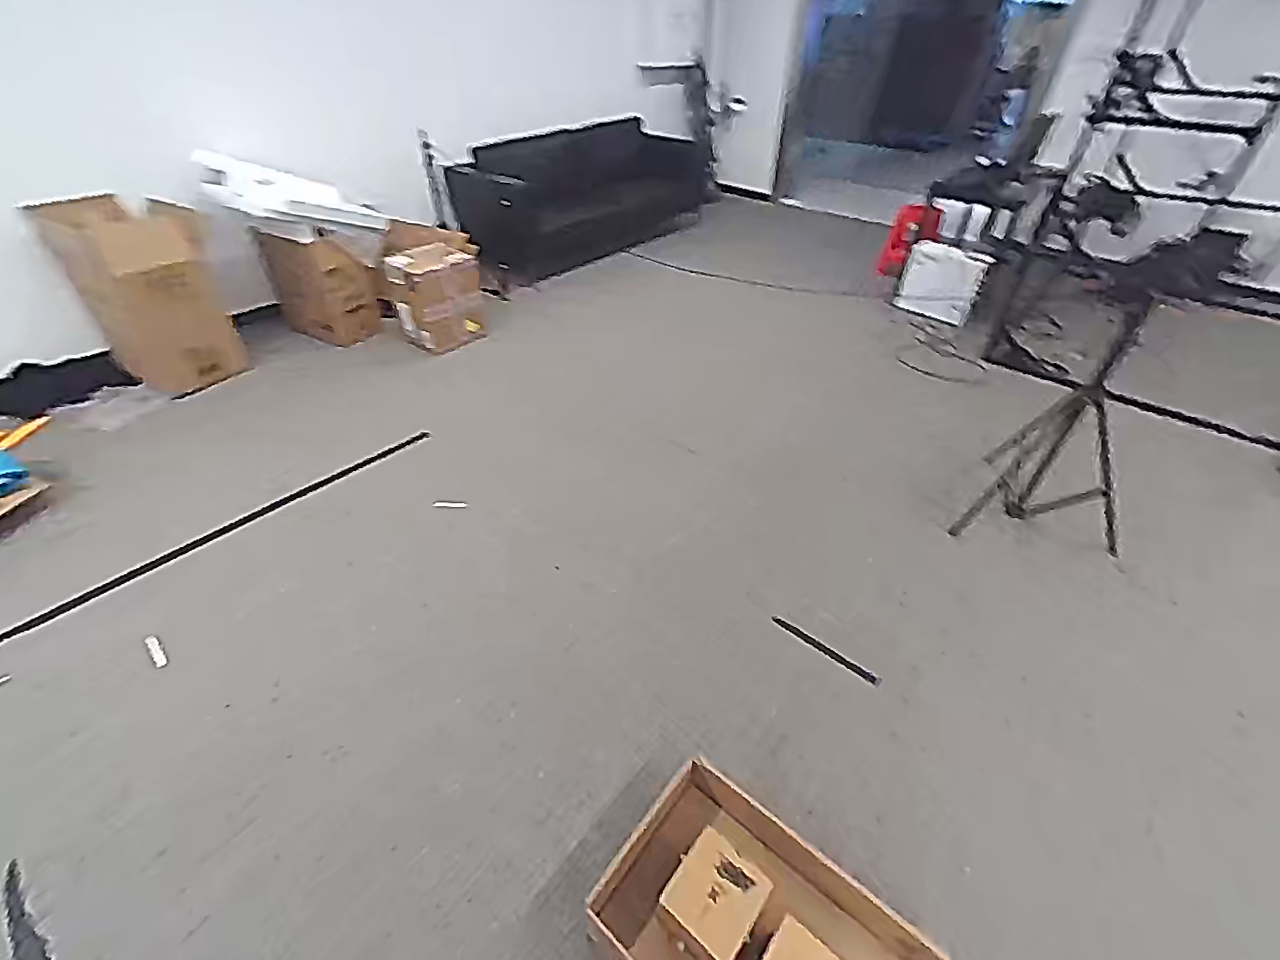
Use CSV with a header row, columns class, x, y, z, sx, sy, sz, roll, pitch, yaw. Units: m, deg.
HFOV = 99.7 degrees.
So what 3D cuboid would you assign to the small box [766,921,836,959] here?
class,x,y,z,sx,sy,sz,roll,pitch,yaw
small box,0.307,0.993,1.015,0.179,0.176,0.168,27,46,31
